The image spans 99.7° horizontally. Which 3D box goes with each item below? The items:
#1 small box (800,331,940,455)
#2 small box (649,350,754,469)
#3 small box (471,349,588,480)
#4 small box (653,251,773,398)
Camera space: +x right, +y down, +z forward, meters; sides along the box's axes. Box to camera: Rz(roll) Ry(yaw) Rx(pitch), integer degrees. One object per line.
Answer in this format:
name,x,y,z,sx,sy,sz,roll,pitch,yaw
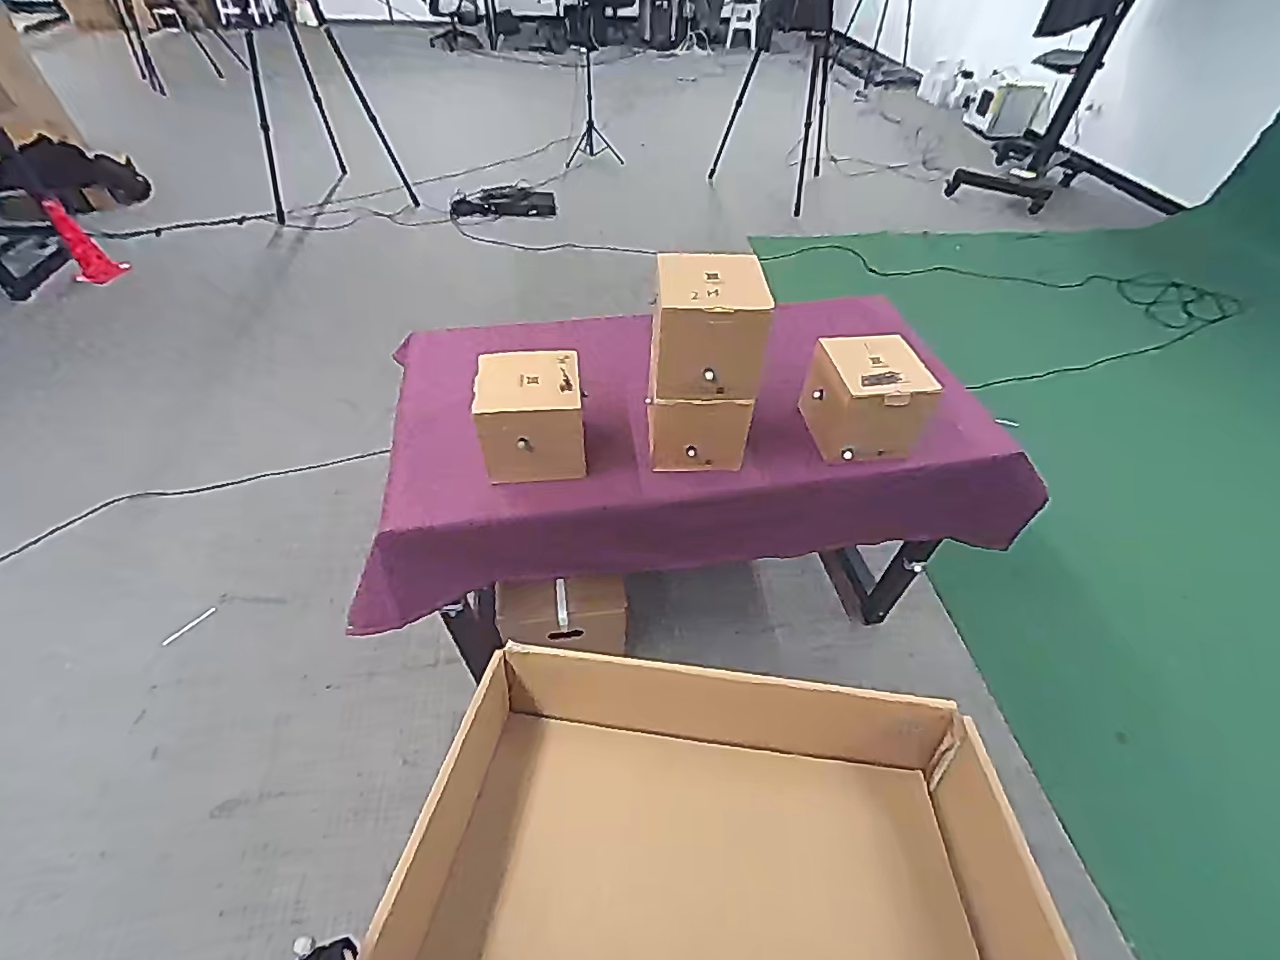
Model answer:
small box,0.423,-0.160,1.029,0.168,0.176,0.179,-5,48,-5
small box,0.104,-0.140,1.006,0.168,0.176,0.179,-1,49,-2
small box,-0.191,-0.114,0.973,0.179,0.176,0.168,-5,49,-5
small box,0.108,-0.254,0.888,0.168,0.176,0.179,0,49,-1
